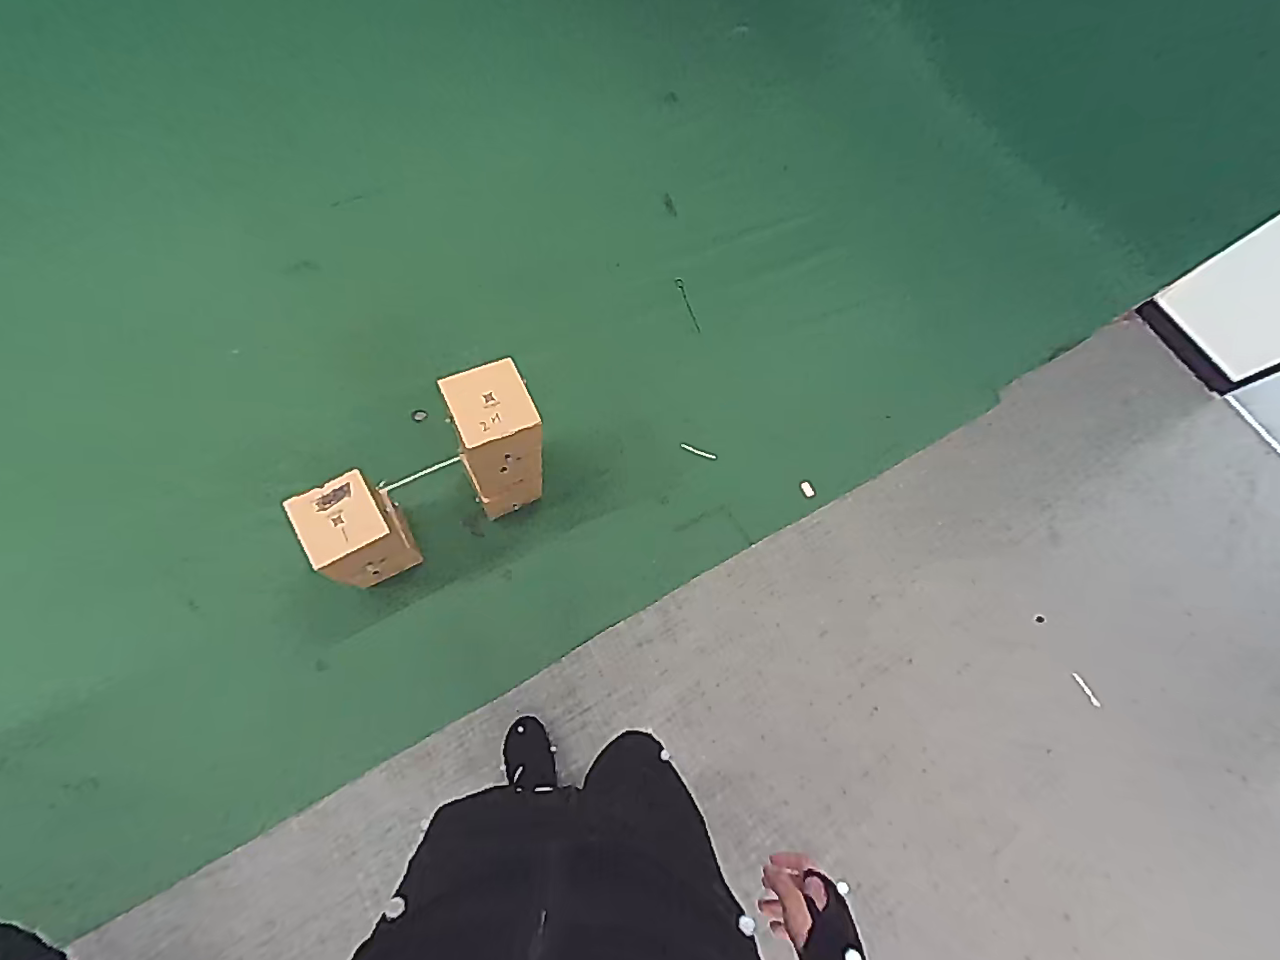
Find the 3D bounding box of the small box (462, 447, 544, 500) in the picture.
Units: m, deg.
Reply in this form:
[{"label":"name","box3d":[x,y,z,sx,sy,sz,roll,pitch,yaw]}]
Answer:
[{"label":"small box","box3d":[-0.353,-0.074,1.371,0.168,0.176,0.179,-23,74,-17]}]

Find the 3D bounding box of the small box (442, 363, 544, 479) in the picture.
[{"label":"small box","box3d":[-0.327,-0.128,1.217,0.168,0.176,0.179,-23,75,-17]}]

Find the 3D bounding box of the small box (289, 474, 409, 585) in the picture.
[{"label":"small box","box3d":[-0.662,0.120,1.247,0.168,0.176,0.179,-29,77,-18]}]

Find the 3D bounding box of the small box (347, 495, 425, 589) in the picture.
[{"label":"small box","box3d":[-0.682,0.168,1.403,0.168,0.176,0.179,-26,75,-17]}]
